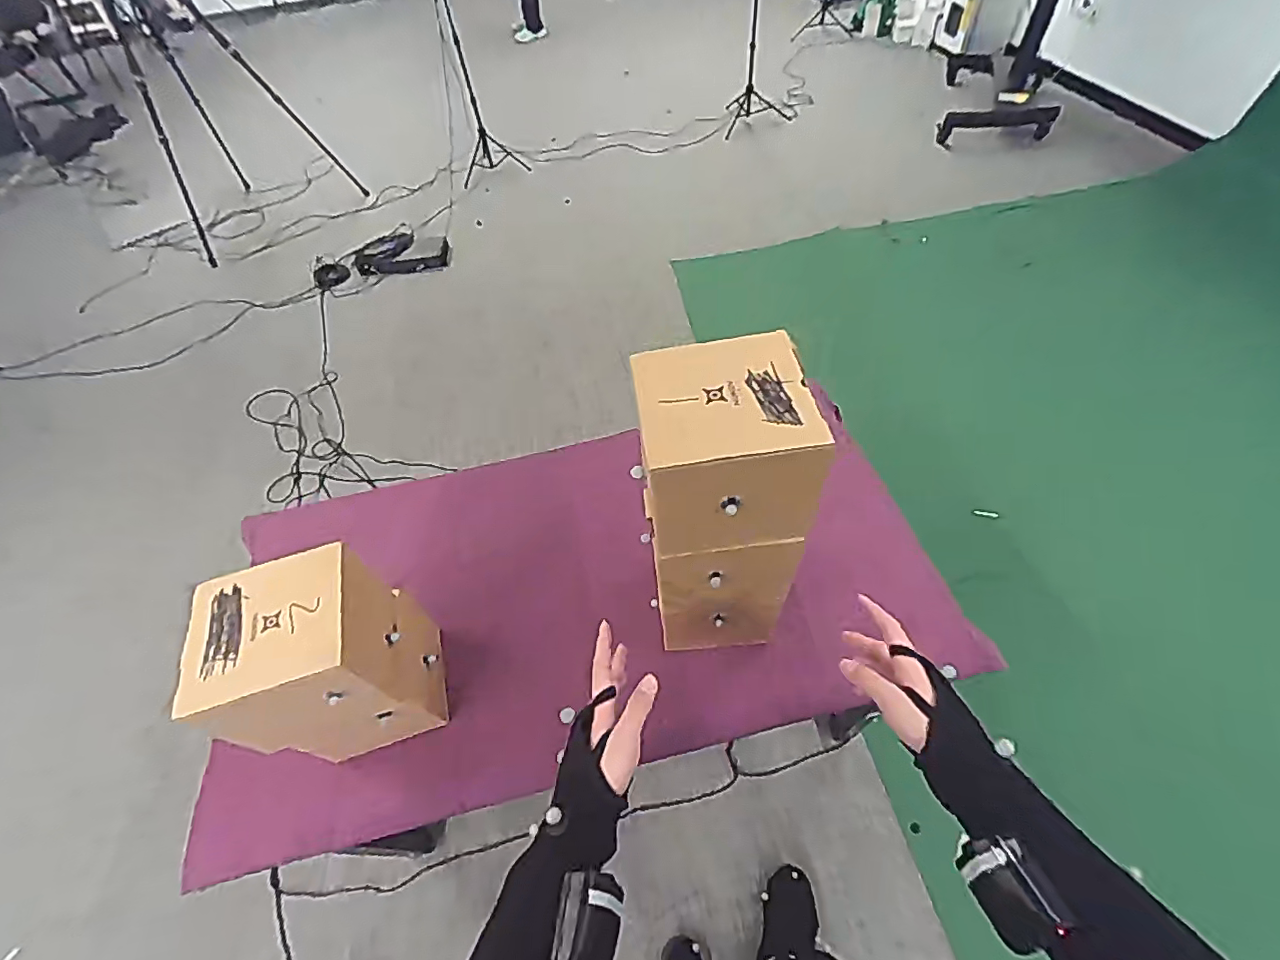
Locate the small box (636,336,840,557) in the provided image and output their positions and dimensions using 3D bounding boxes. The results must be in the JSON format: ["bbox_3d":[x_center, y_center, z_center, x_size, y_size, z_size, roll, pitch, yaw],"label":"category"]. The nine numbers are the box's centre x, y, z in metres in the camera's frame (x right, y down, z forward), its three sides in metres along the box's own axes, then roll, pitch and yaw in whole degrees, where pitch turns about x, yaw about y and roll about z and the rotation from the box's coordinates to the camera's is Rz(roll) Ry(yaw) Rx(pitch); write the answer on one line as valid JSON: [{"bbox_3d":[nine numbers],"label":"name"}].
[{"bbox_3d":[0.095,-0.031,0.599,0.179,0.176,0.168,-8,53,1],"label":"small box"}]

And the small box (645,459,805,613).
[{"bbox_3d":[0.107,0.068,0.730,0.179,0.176,0.168,-8,54,2],"label":"small box"}]

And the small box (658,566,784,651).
[{"bbox_3d":[0.120,0.164,0.861,0.179,0.176,0.168,-4,54,2],"label":"small box"}]

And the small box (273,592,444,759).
[{"bbox_3d":[-0.407,0.297,0.813,0.179,0.176,0.168,-17,54,-7],"label":"small box"}]
